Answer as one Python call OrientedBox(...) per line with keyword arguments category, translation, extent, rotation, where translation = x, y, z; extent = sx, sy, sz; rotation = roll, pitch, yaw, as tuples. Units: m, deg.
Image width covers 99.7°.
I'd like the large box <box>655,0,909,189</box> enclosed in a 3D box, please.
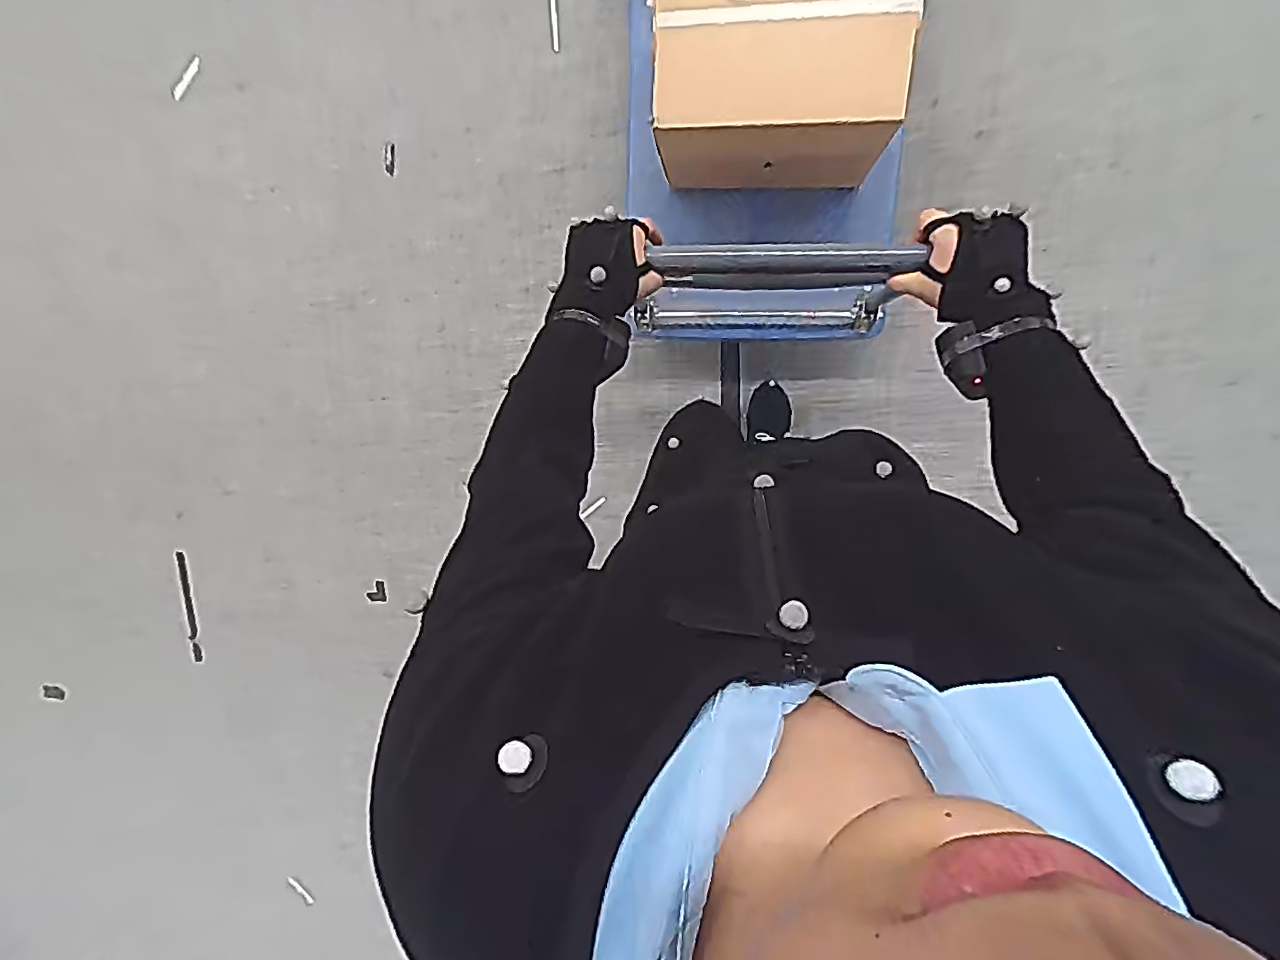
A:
OrientedBox(category="large box", translation=(0.252, -0.769, 1.018), extent=(0.408, 0.320, 0.320), rotation=(3, 100, 10))
